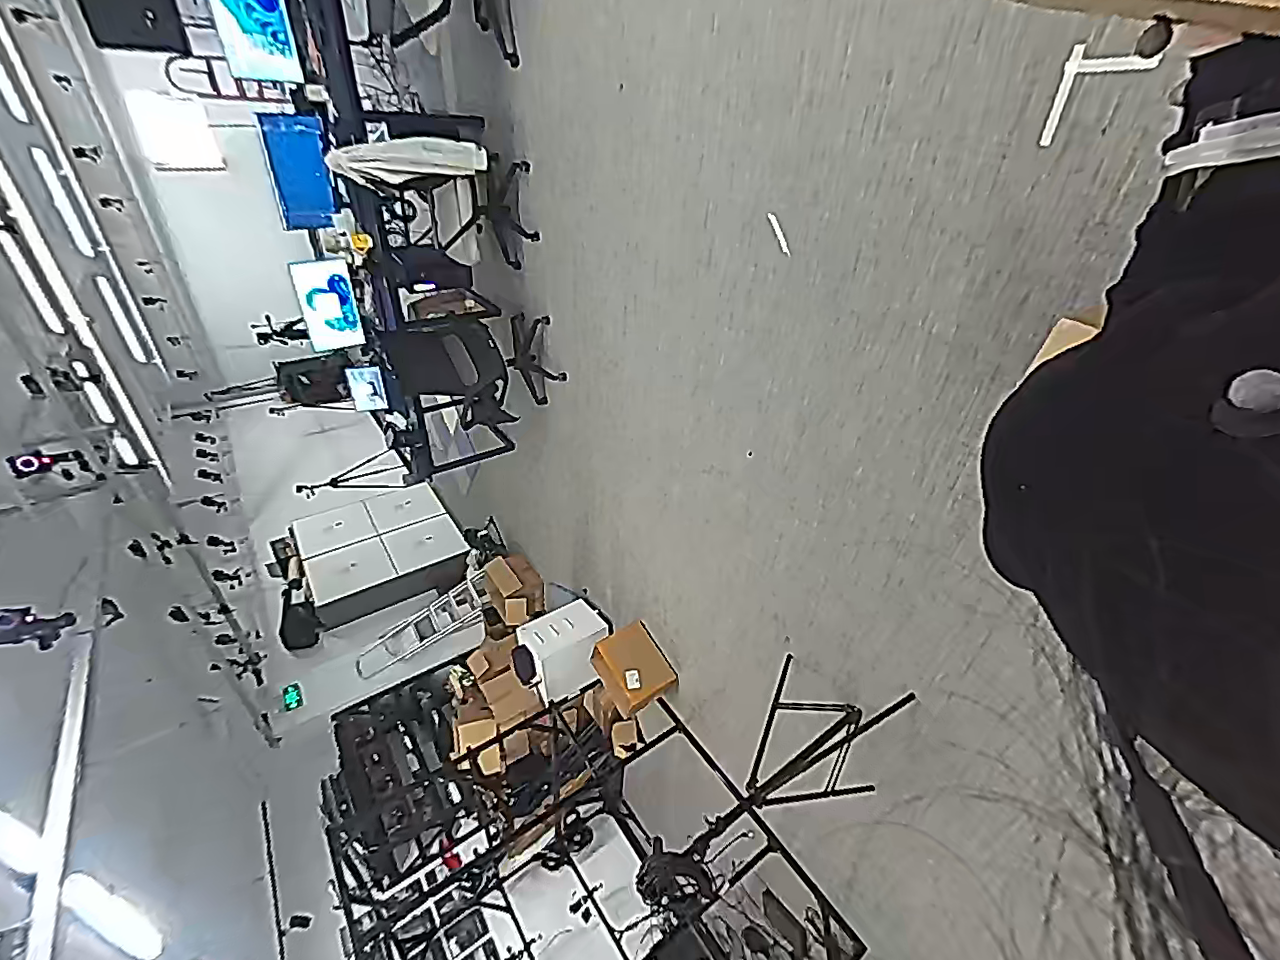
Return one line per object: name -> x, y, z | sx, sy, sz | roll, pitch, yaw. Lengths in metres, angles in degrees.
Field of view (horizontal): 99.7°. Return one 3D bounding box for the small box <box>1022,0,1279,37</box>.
small box -> 0.268, -0.306, 0.228 | 0.179, 0.176, 0.168 | 45, 143, 33
